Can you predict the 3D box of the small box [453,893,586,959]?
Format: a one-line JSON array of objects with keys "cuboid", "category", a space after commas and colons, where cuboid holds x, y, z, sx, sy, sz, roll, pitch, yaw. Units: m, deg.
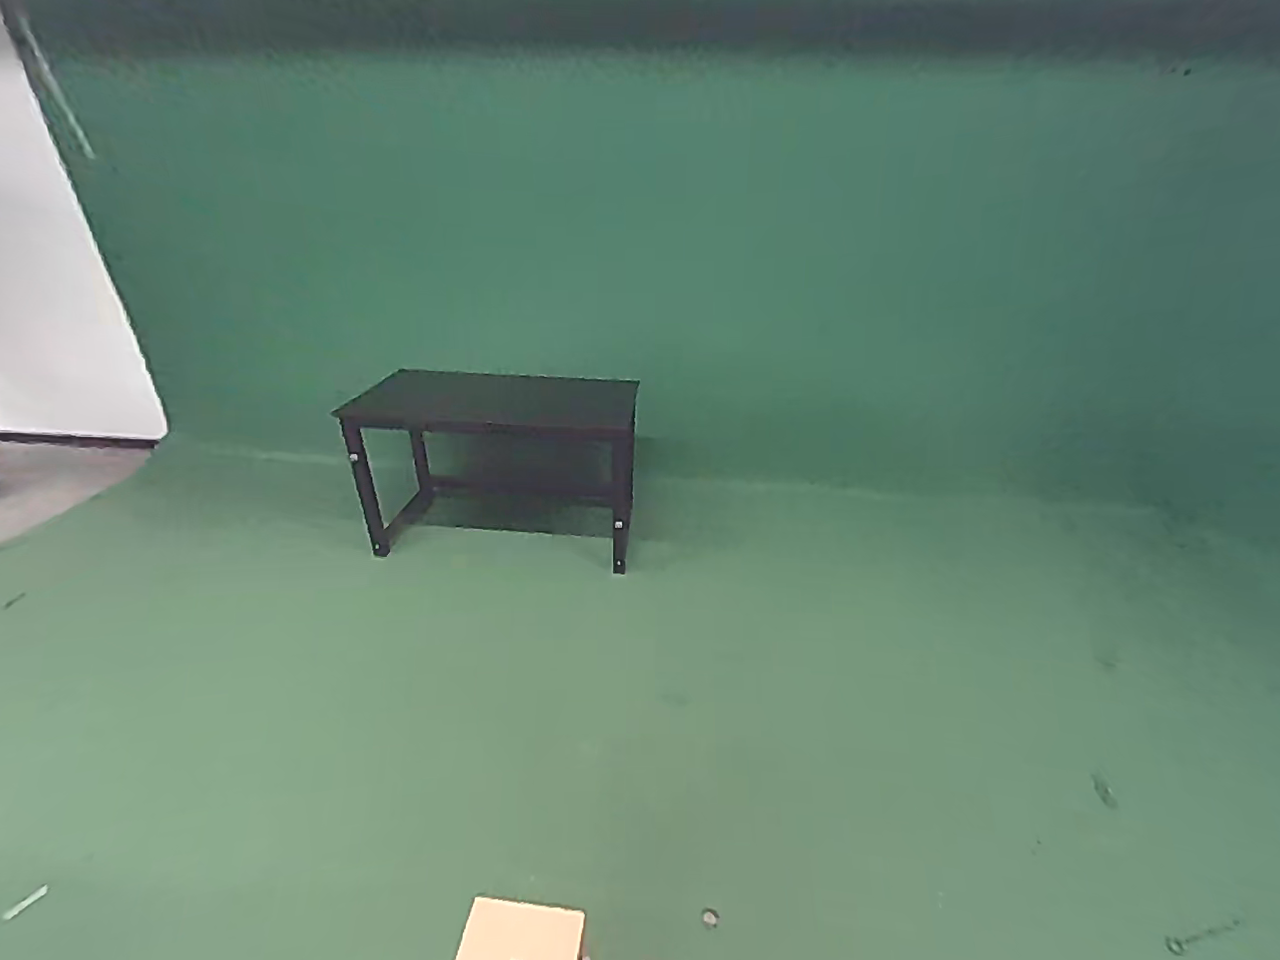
[{"cuboid": [-0.172, 0.721, 0.744, 0.168, 0.176, 0.179, 4, 28, 5], "category": "small box"}]
